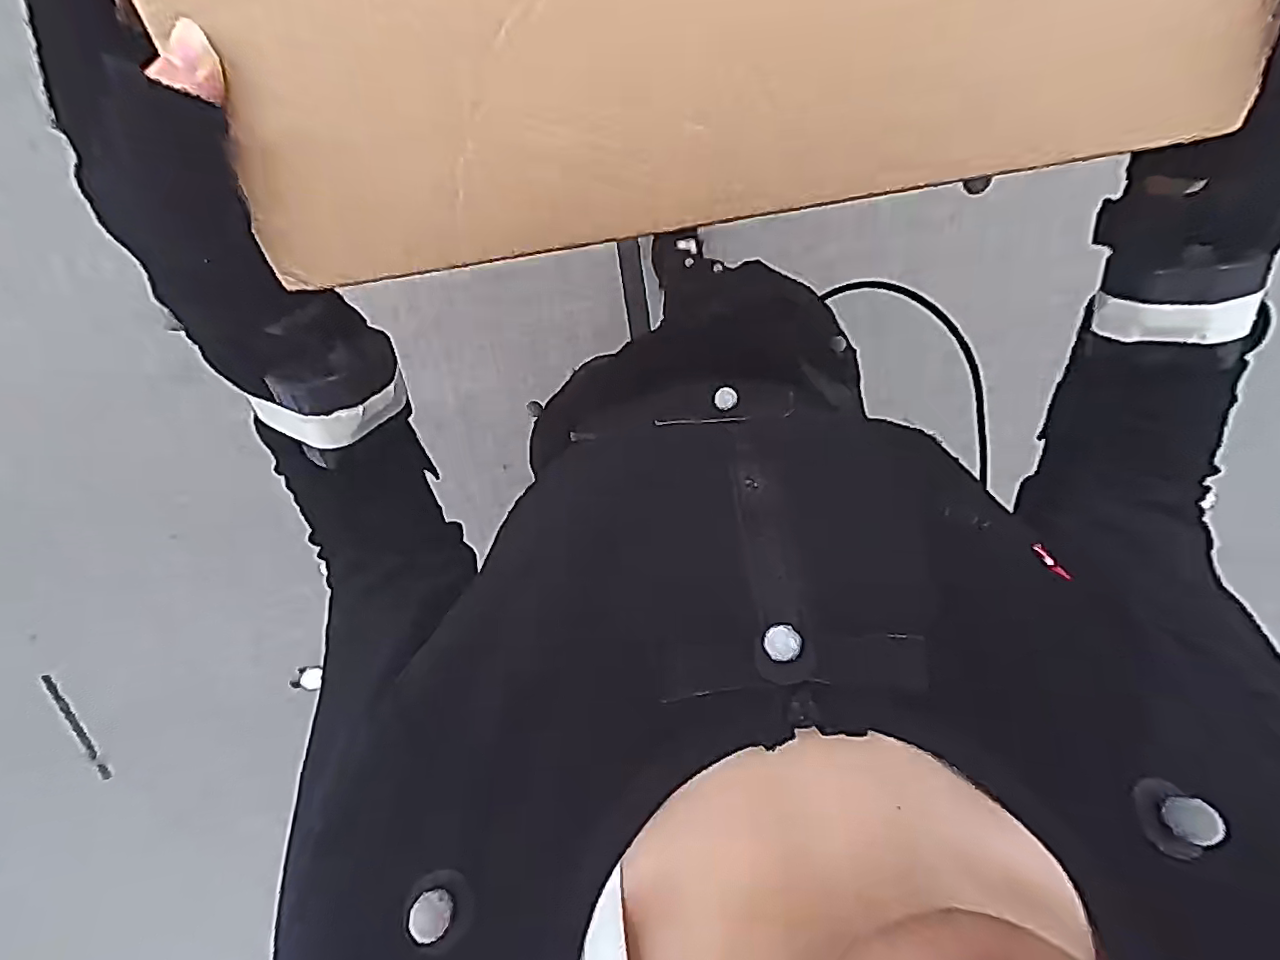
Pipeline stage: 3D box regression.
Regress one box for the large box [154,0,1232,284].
[{"bbox_3d":[0.009,-0.329,0.275,0.408,0.320,0.320,-9,123,2],"label":"large box"}]
